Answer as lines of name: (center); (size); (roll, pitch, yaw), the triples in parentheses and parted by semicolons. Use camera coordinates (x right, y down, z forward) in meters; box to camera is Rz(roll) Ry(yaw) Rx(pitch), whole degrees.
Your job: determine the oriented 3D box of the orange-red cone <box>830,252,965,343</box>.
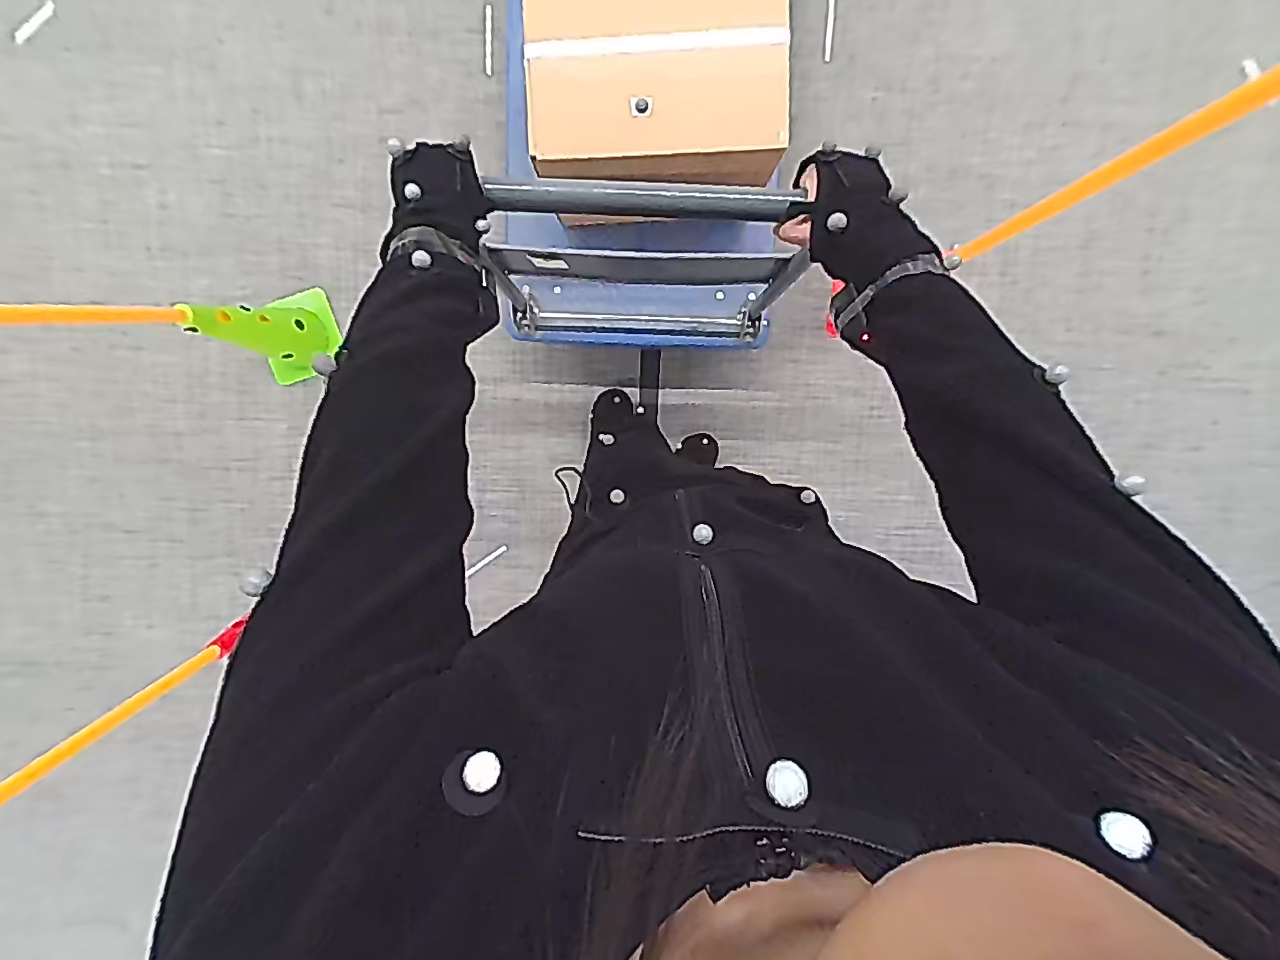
orange-red cone: (0.581, -0.424, 1.164); (0.199, 0.360, 0.198); (8, 98, -1)
